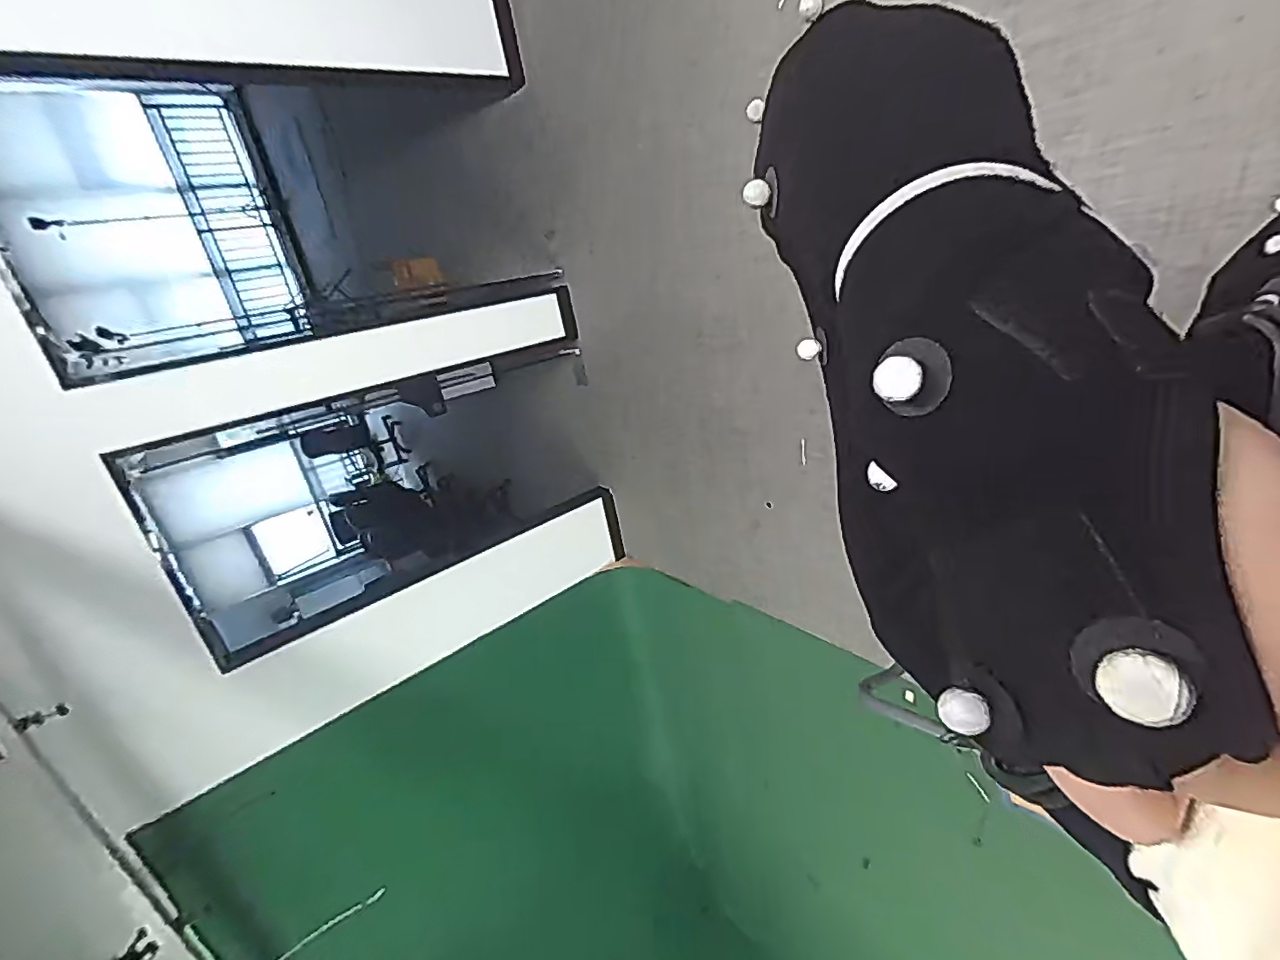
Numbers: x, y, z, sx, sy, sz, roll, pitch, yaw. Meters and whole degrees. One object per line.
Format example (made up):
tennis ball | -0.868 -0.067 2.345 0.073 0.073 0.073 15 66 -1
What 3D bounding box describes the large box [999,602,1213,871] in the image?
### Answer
large box | 1.083 0.551 1.250 0.320 0.320 0.408 4 114 54
